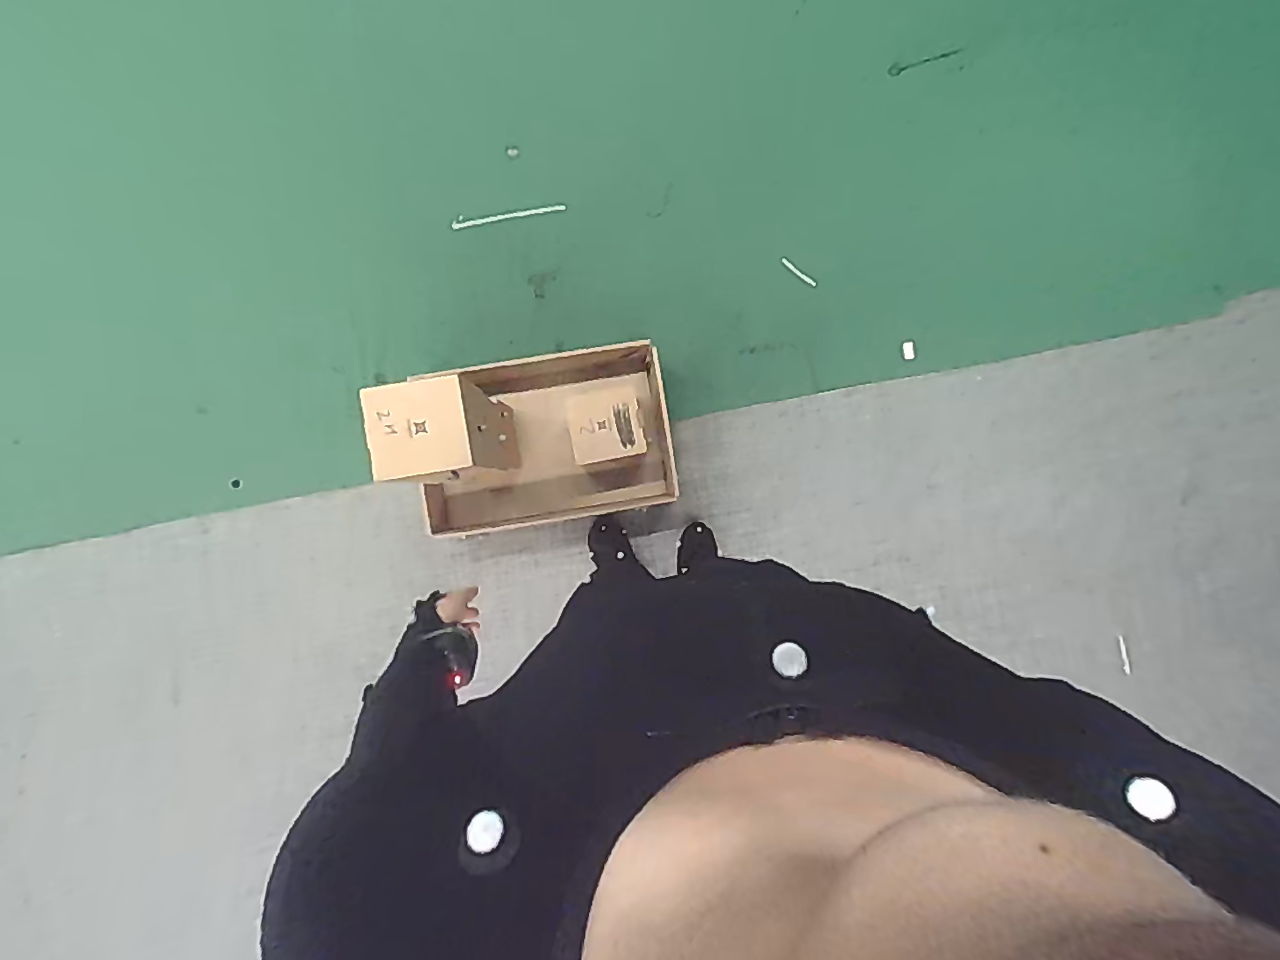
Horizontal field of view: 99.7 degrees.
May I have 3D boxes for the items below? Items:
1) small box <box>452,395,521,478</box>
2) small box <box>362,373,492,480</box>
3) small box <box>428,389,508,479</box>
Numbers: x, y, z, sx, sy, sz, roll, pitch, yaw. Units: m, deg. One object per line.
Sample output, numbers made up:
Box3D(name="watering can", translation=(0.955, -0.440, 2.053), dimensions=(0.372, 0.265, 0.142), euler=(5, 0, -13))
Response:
Box3D(name="small box", translation=(-0.403, -0.104, 1.346), dimensions=(0.168, 0.176, 0.179), euler=(-10, 91, -2))
Box3D(name="small box", translation=(-0.387, -0.094, 1.017), dimensions=(0.179, 0.176, 0.168), euler=(-10, 90, -2))
Box3D(name="small box", translation=(-0.402, -0.094, 1.182), dimensions=(0.179, 0.176, 0.168), euler=(-9, 91, -3))
